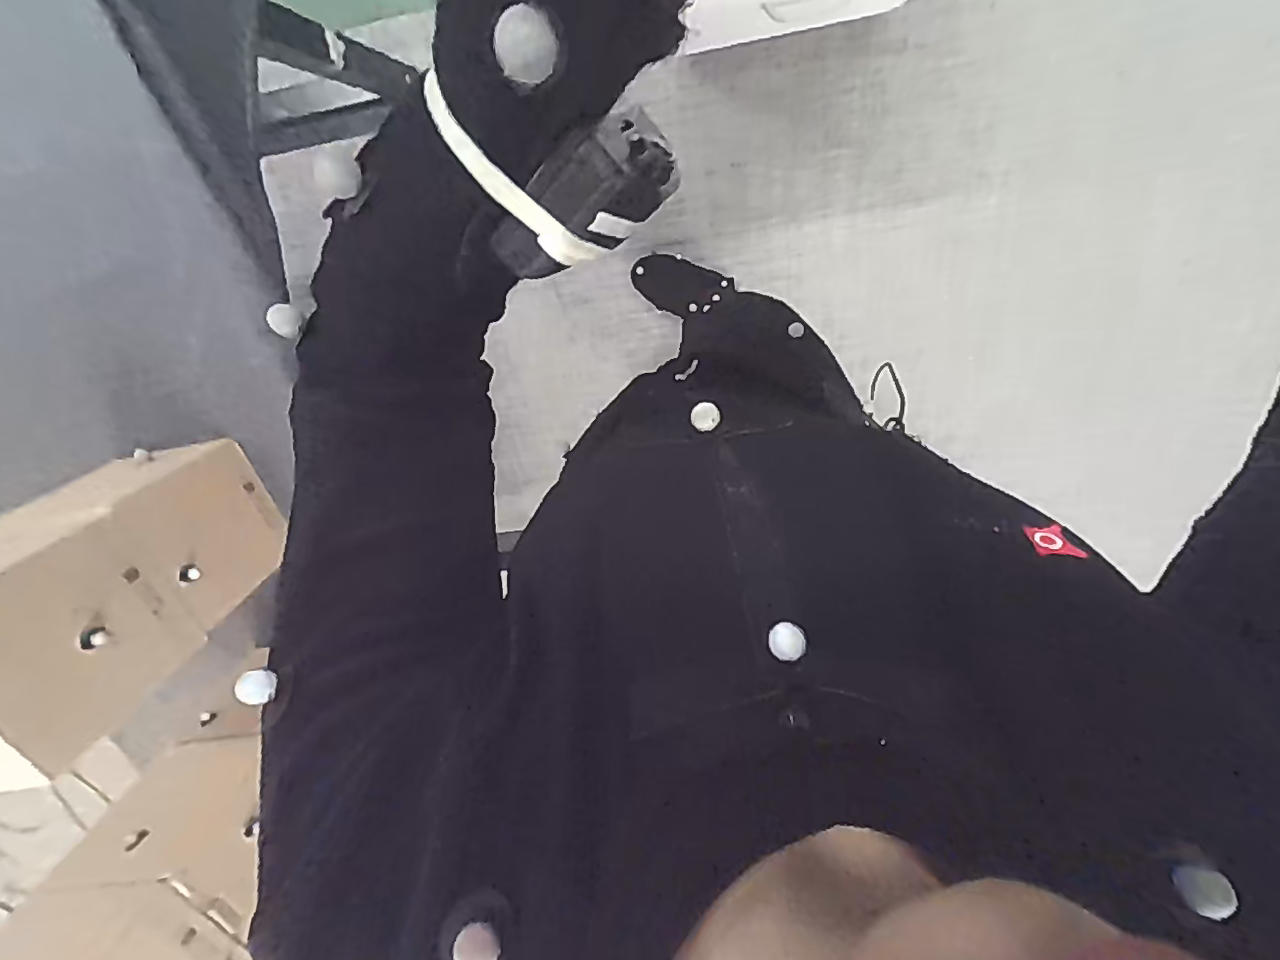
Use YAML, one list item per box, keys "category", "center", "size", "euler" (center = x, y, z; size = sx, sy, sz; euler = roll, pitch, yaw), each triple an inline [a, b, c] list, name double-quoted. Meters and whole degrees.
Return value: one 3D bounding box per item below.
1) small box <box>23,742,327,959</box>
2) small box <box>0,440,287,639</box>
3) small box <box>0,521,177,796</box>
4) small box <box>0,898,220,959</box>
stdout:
- category: "small box"
  center: [-0.502, 0.428, 0.623]
  size: [0.179, 0.176, 0.168]
  euler: [-11, 115, 11]
- category: "small box"
  center: [-0.565, 0.070, 0.622]
  size: [0.179, 0.176, 0.168]
  euler: [-9, 117, 9]
- category: "small box"
  center: [-0.572, 0.152, 0.478]
  size: [0.179, 0.176, 0.168]
  euler: [-10, 116, 9]
- category: "small box"
  center: [-0.515, 0.504, 0.478]
  size: [0.179, 0.176, 0.168]
  euler: [-13, 115, 12]
